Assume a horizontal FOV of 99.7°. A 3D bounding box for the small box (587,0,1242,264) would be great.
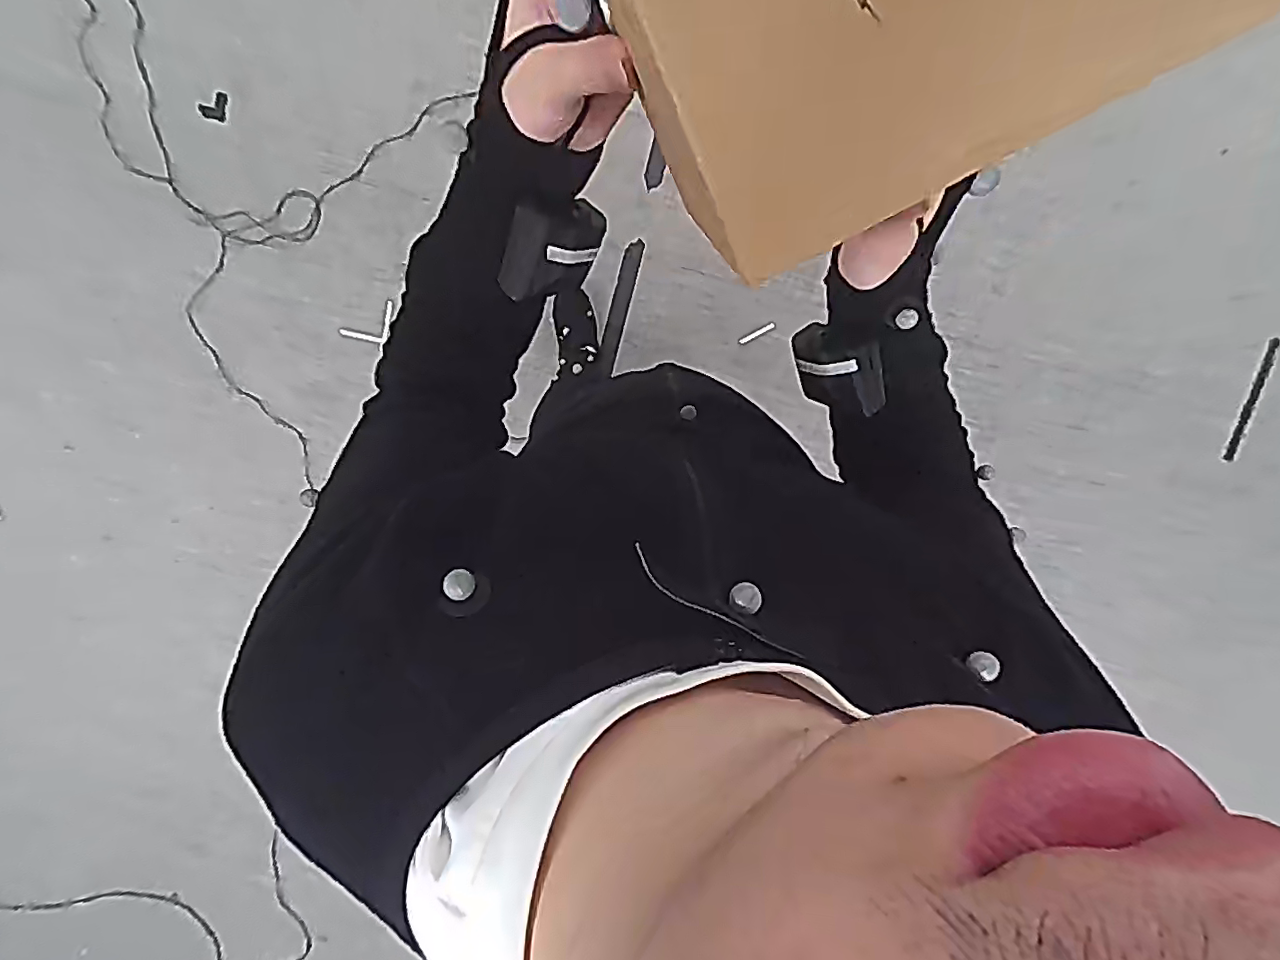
[{"bbox_3d":[0.064,-0.202,0.173,0.179,0.176,0.168,-24,120,14],"label":"small box"}]
